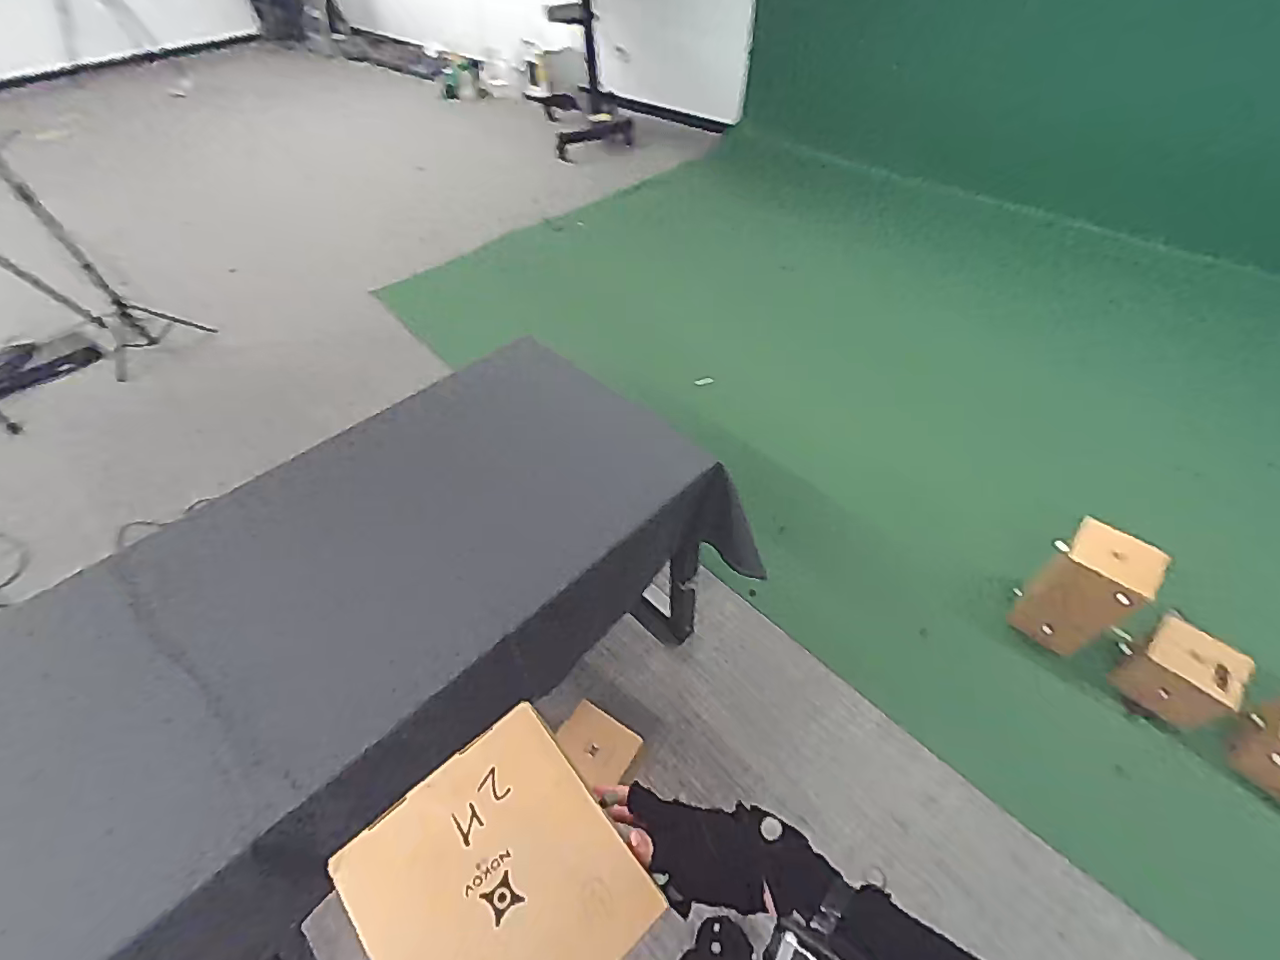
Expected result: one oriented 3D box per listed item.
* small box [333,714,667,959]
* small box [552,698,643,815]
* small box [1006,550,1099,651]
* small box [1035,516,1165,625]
[{"bbox_3d":[-0.098,0.322,0.436,0.168,0.176,0.179,-34,66,-21],"label":"small box"},{"bbox_3d":[-0.109,0.655,1.271,0.179,0.176,0.168,25,56,23],"label":"small box"},{"bbox_3d":[1.146,0.335,1.482,0.168,0.176,0.179,36,61,28],"label":"small box"},{"bbox_3d":[1.143,0.231,1.356,0.179,0.176,0.168,34,59,27],"label":"small box"}]
